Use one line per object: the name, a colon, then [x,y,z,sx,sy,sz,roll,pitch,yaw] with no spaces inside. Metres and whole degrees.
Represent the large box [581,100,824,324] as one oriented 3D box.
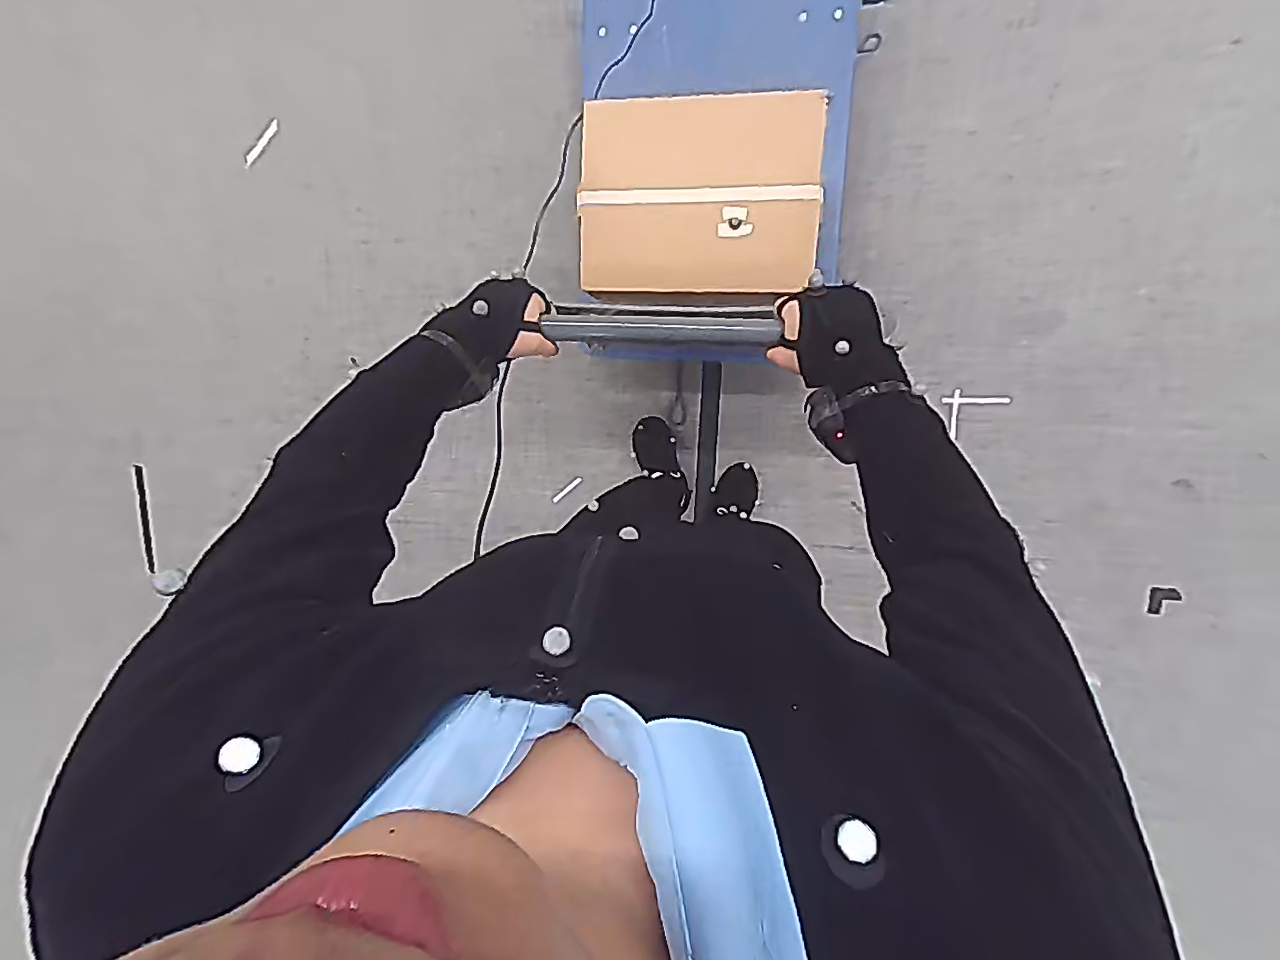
large box: [0.115,-0.484,1.056,0.408,0.320,0.320,3,100,8]
